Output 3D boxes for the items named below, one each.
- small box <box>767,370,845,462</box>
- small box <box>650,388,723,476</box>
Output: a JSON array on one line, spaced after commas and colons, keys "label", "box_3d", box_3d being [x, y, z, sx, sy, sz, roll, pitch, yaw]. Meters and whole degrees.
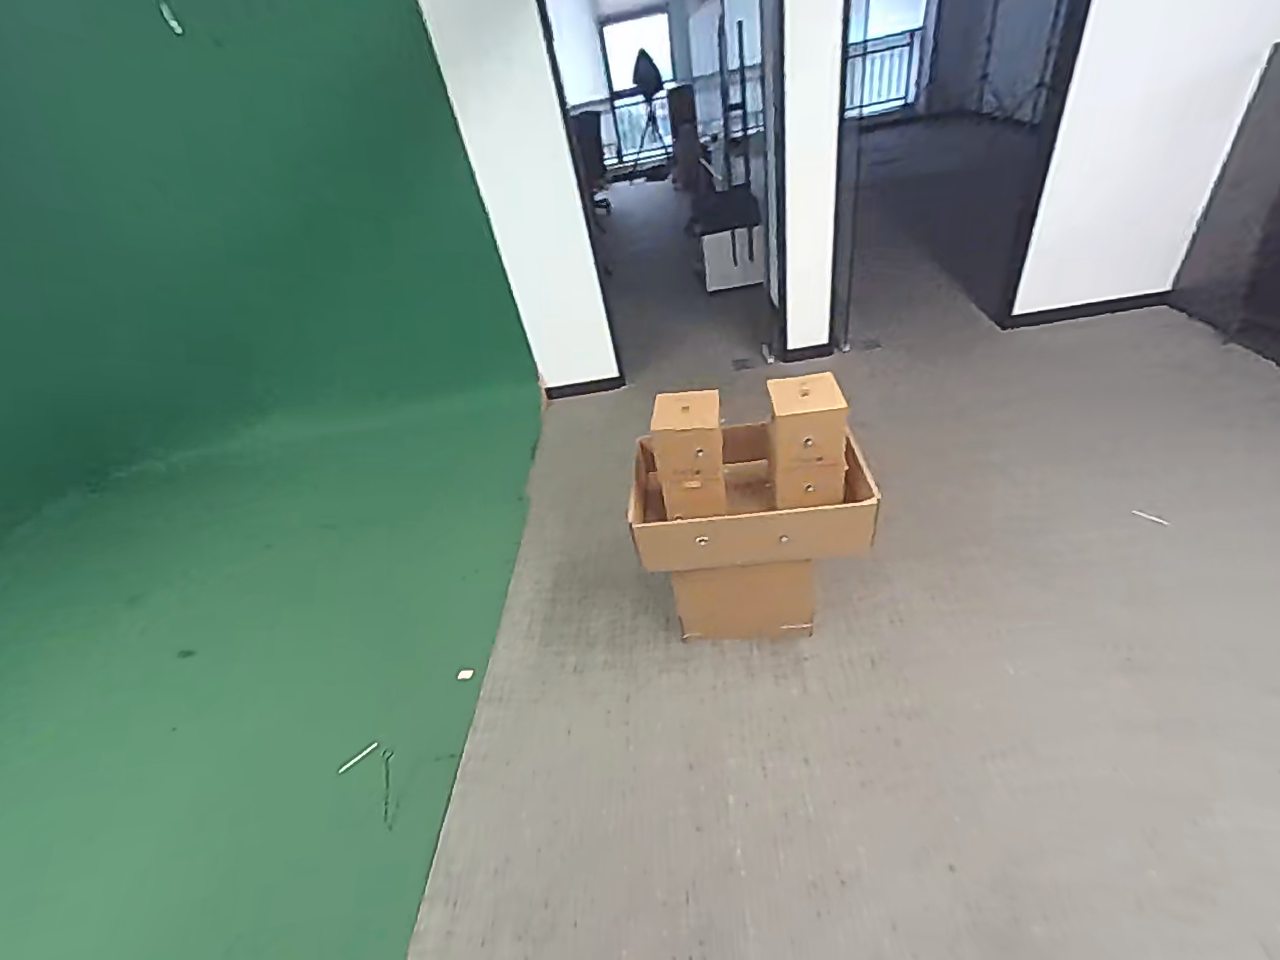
[{"label": "small box", "box_3d": [0.420, -0.158, 1.381, 0.168, 0.176, 0.179, -6, 38, 9]}, {"label": "small box", "box_3d": [0.129, -0.121, 1.423, 0.168, 0.176, 0.179, -2, 38, 12]}]
